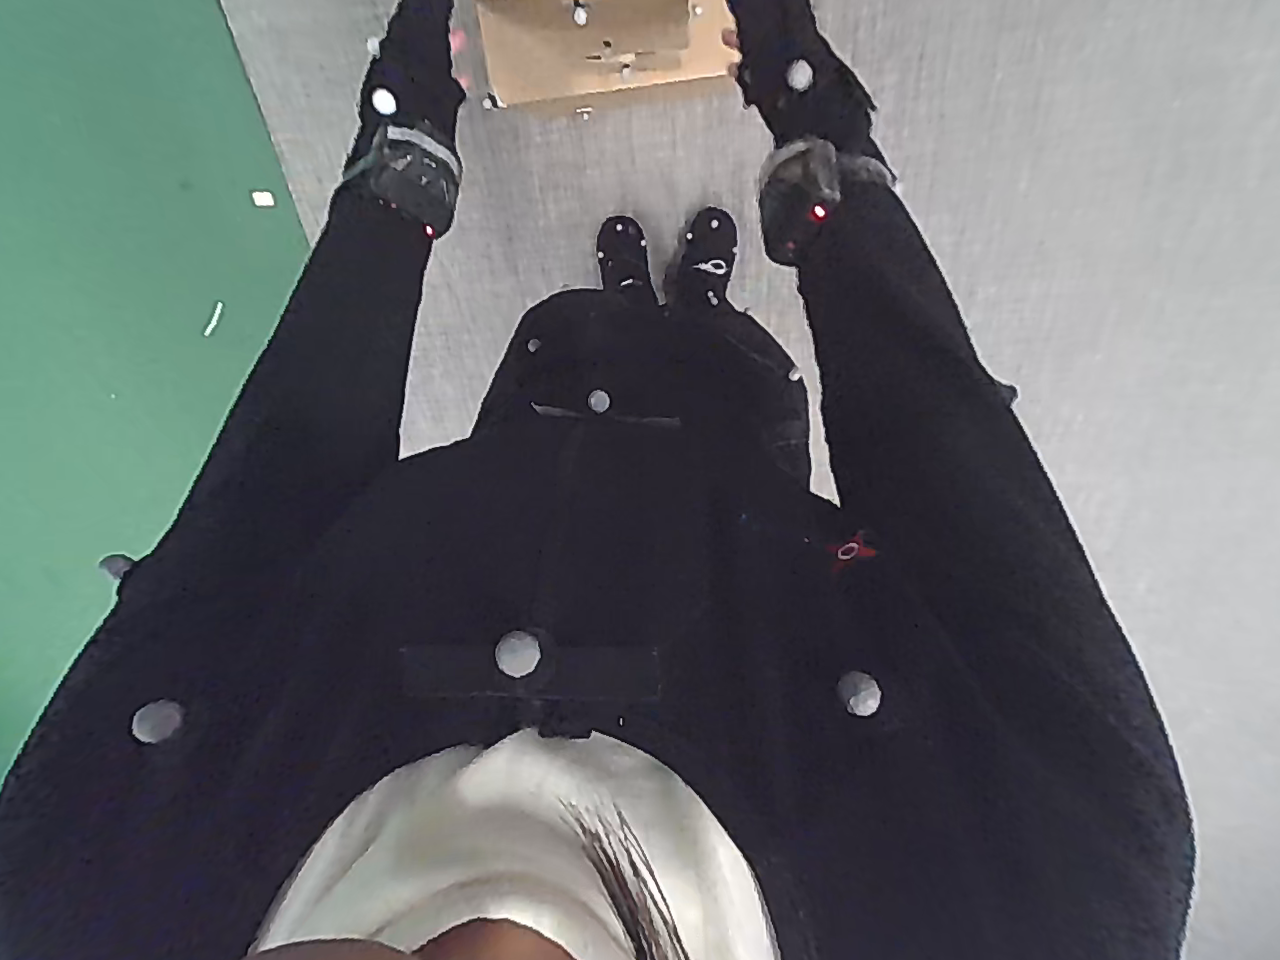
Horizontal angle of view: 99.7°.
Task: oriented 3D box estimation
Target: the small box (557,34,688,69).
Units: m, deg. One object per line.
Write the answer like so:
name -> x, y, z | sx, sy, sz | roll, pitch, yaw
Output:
small box -> -0.022, -0.662, 0.718 | 0.168, 0.176, 0.179 | 0, 122, 7

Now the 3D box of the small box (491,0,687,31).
small box -> -0.048, -0.491, 0.442 | 0.179, 0.176, 0.168 | -1, 122, 6

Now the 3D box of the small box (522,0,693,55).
small box -> -0.032, -0.574, 0.579 | 0.179, 0.176, 0.168 | 1, 122, 8
